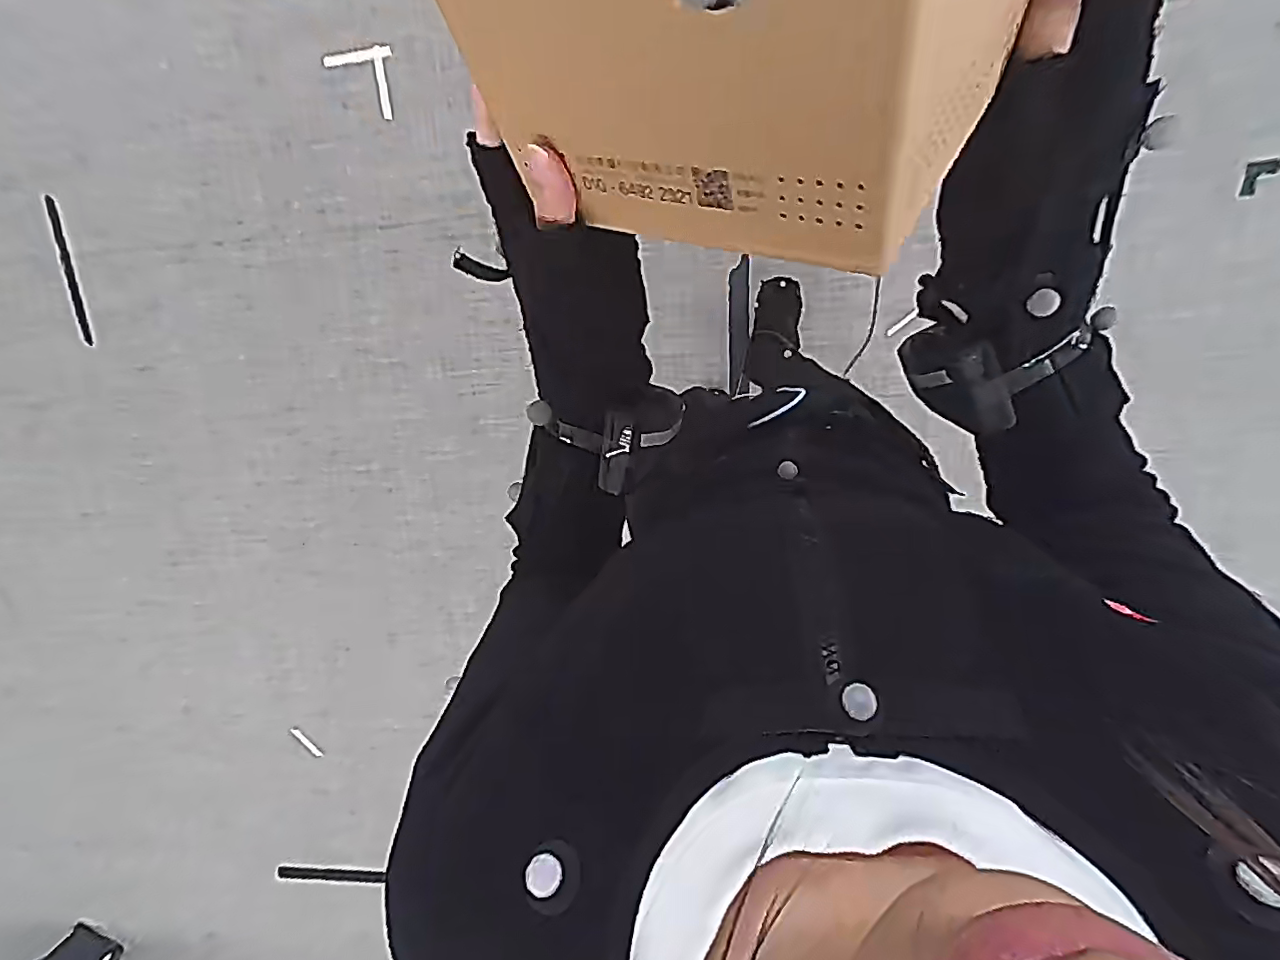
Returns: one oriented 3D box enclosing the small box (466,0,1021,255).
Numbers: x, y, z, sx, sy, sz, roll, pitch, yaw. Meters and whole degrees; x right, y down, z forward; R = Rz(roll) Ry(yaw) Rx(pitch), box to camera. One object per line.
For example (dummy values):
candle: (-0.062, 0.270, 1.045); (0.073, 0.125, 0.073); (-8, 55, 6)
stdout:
small box: (0.043, -0.211, 0.193); (0.168, 0.176, 0.179); (25, 70, 28)
